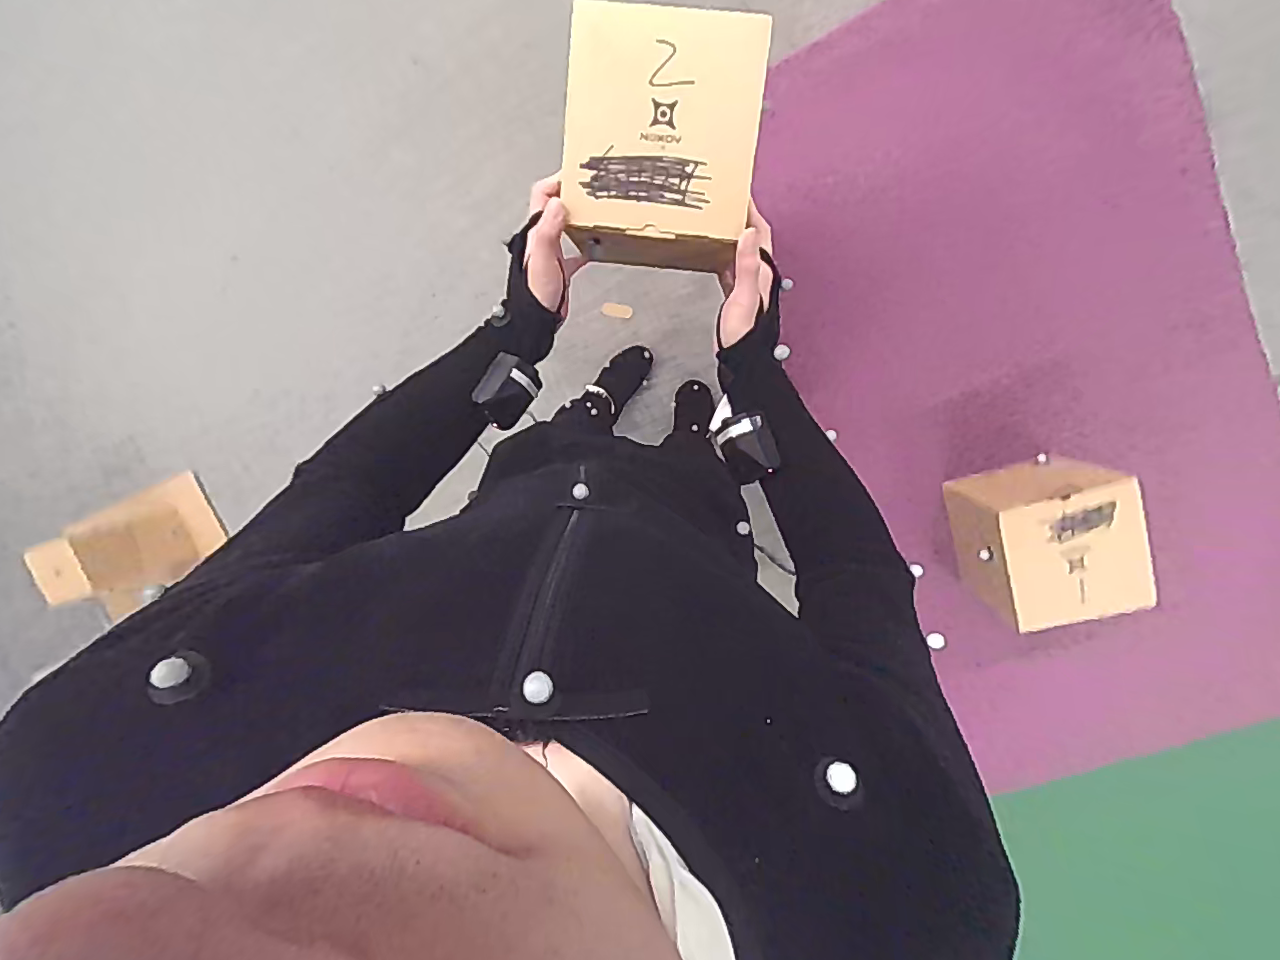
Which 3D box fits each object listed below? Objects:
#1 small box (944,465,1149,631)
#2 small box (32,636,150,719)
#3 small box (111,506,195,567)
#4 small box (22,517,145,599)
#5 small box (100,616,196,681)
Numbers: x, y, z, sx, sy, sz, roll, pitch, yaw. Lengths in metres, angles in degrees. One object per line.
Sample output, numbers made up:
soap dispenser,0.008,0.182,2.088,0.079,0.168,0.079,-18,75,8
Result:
small box,0.562,0.084,0.771,0.168,0.176,0.179,-15,101,10
small box,-1.739,0.619,1.723,0.168,0.176,0.179,-19,100,10
small box,-1.643,0.194,1.790,0.168,0.176,0.179,-17,100,10
small box,-1.665,0.231,1.631,0.168,0.176,0.179,-15,100,9
small box,-1.718,0.591,1.881,0.168,0.176,0.179,-19,100,11
